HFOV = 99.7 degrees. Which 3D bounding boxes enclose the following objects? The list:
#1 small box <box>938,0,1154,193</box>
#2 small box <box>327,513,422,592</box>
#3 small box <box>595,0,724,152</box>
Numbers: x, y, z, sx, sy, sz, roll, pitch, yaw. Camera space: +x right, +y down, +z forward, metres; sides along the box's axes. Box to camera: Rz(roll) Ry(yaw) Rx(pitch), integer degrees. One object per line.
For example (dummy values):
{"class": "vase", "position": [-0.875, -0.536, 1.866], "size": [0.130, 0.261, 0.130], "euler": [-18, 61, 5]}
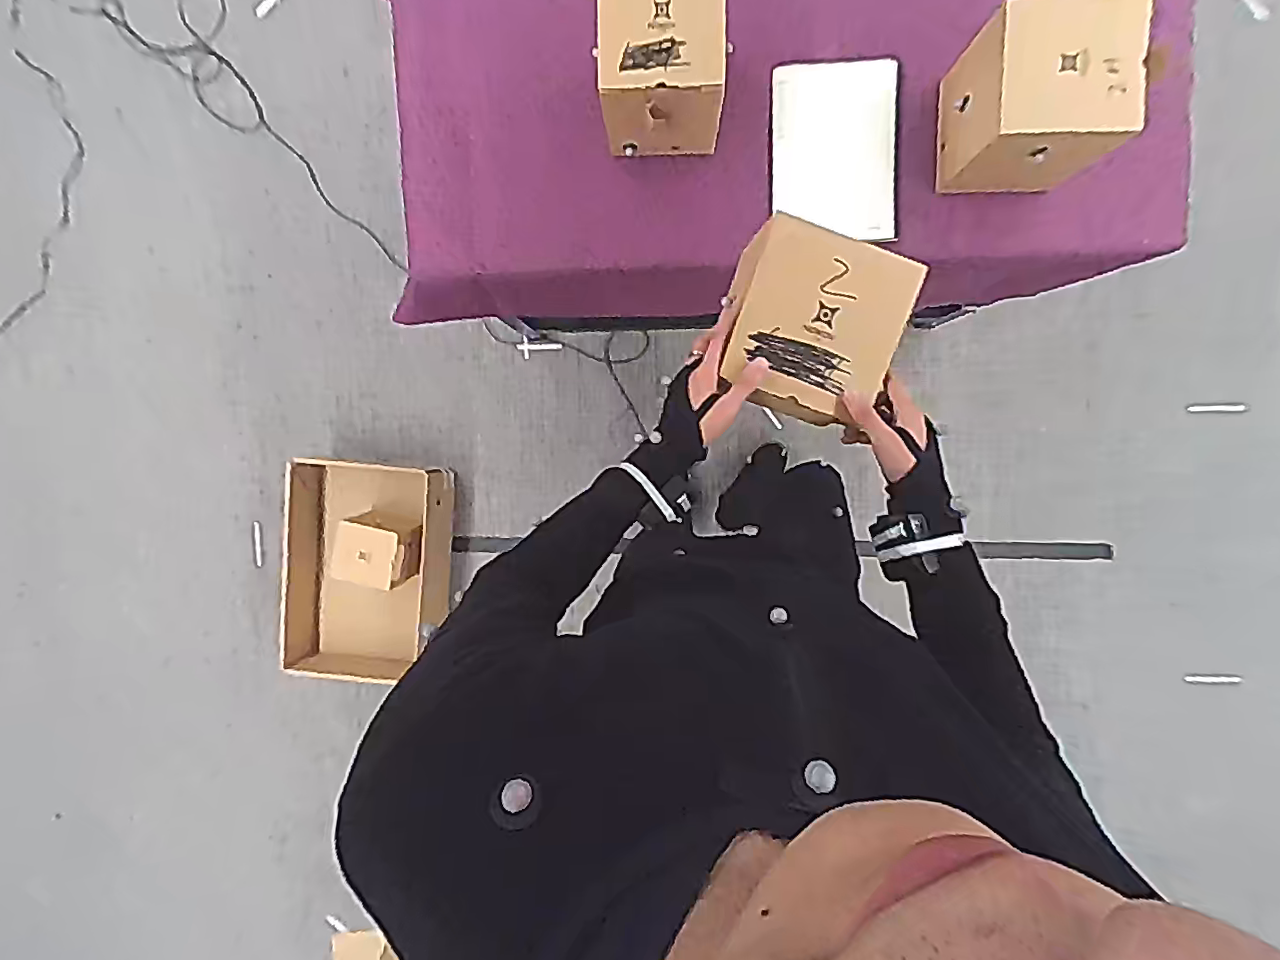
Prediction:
{"class": "small box", "position": [0.537, -0.513, 0.742], "size": [0.179, 0.176, 0.168], "euler": [1, 95, 2]}
{"class": "small box", "position": [-0.747, 0.199, 1.542], "size": [0.179, 0.176, 0.168], "euler": [13, 96, 1]}
{"class": "small box", "position": [0.029, -0.587, 0.758], "size": [0.168, 0.176, 0.179], "euler": [0, 94, 2]}
